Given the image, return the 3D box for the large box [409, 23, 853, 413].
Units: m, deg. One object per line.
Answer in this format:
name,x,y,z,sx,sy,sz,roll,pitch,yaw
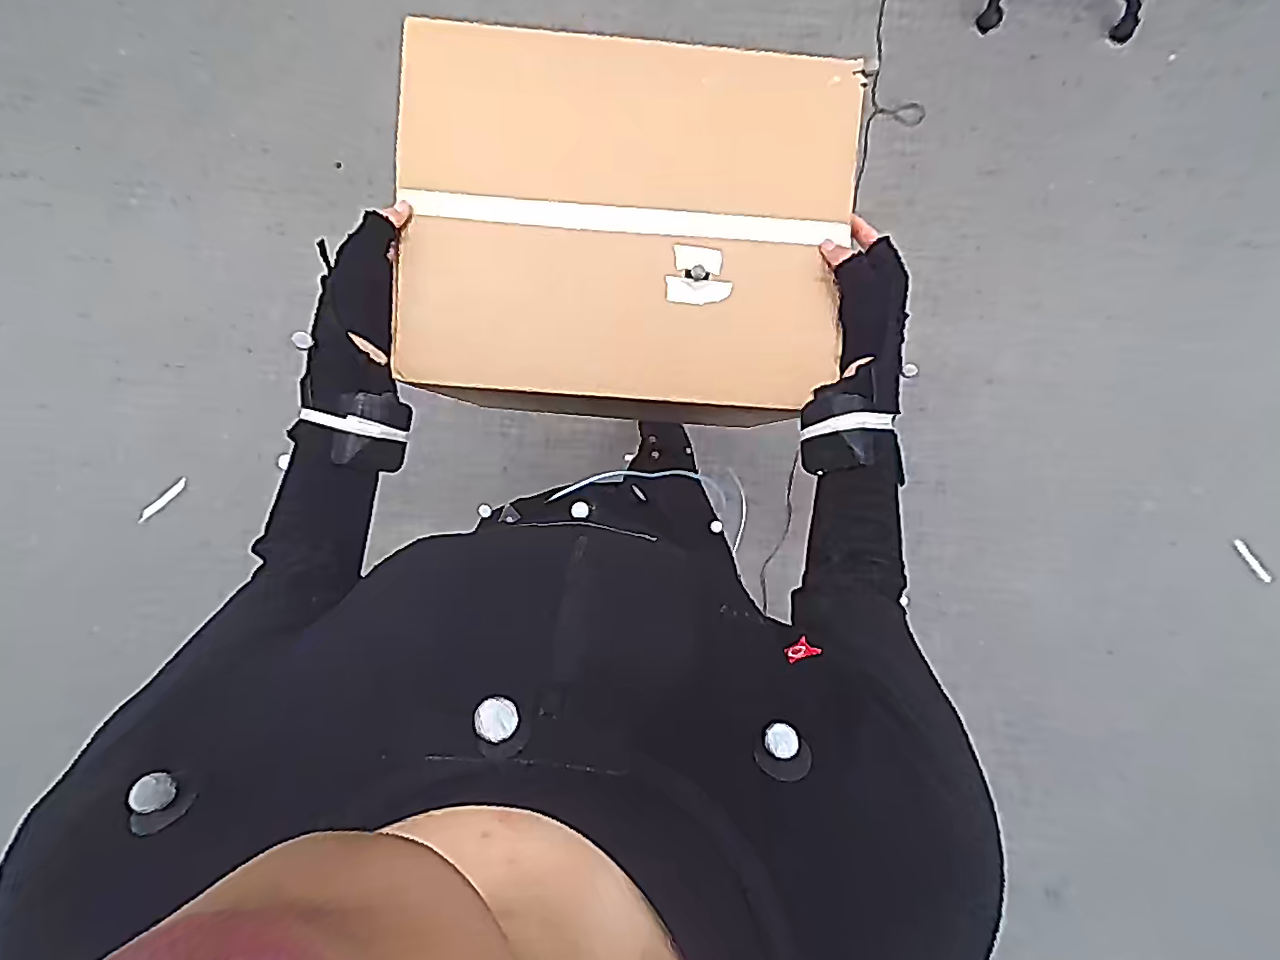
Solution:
large box,-0.017,-0.254,0.647,0.408,0.320,0.320,4,94,-3
